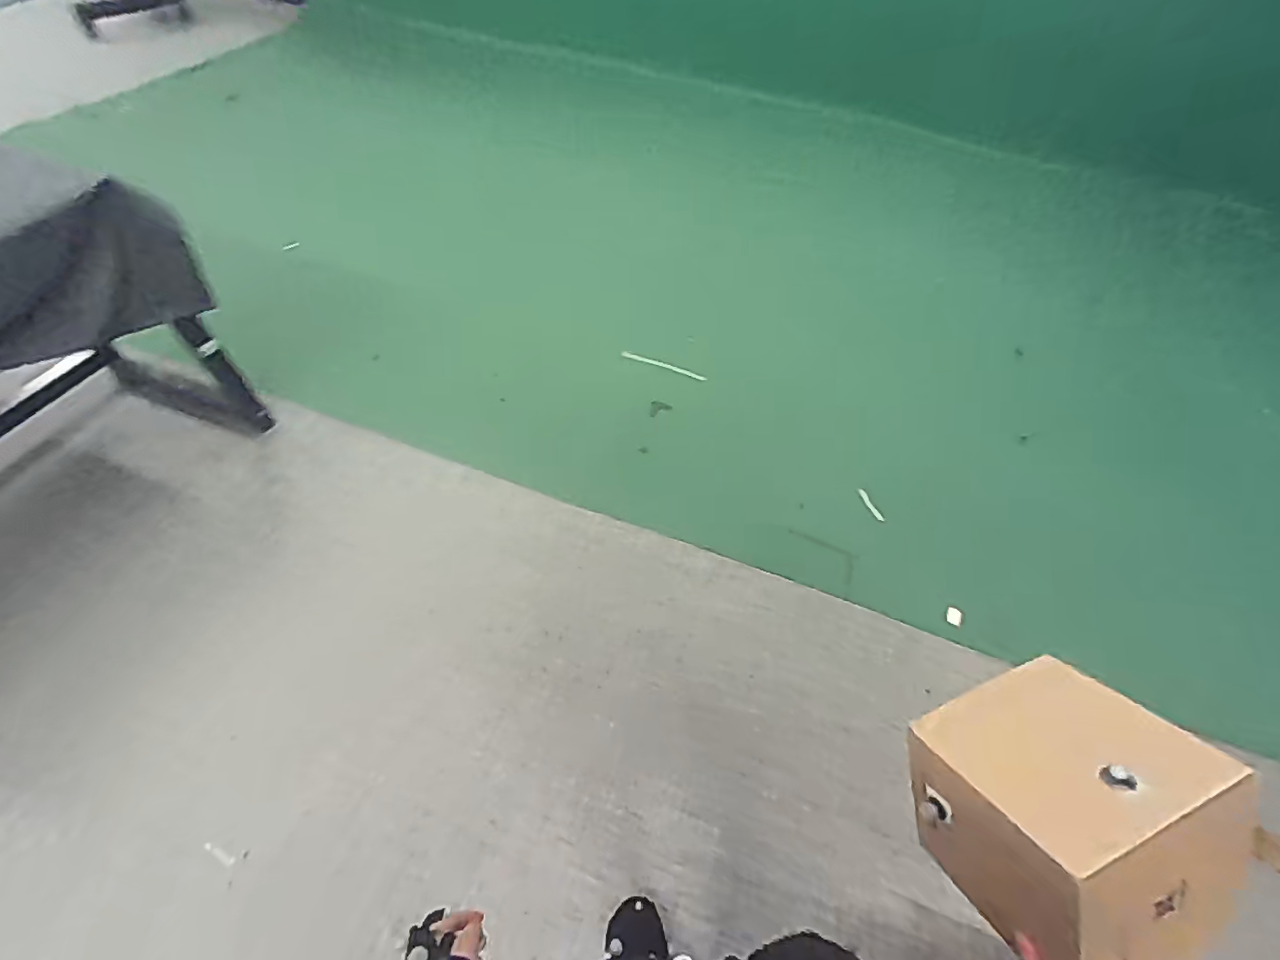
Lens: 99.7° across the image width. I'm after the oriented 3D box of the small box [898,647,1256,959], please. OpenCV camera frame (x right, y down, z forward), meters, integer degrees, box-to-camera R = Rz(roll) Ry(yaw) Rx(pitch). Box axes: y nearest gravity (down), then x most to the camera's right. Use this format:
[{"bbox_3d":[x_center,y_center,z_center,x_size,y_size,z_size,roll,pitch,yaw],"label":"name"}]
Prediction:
[{"bbox_3d":[0.362,0.278,0.474,0.179,0.168,0.176,-20,19,-11],"label":"small box"}]
